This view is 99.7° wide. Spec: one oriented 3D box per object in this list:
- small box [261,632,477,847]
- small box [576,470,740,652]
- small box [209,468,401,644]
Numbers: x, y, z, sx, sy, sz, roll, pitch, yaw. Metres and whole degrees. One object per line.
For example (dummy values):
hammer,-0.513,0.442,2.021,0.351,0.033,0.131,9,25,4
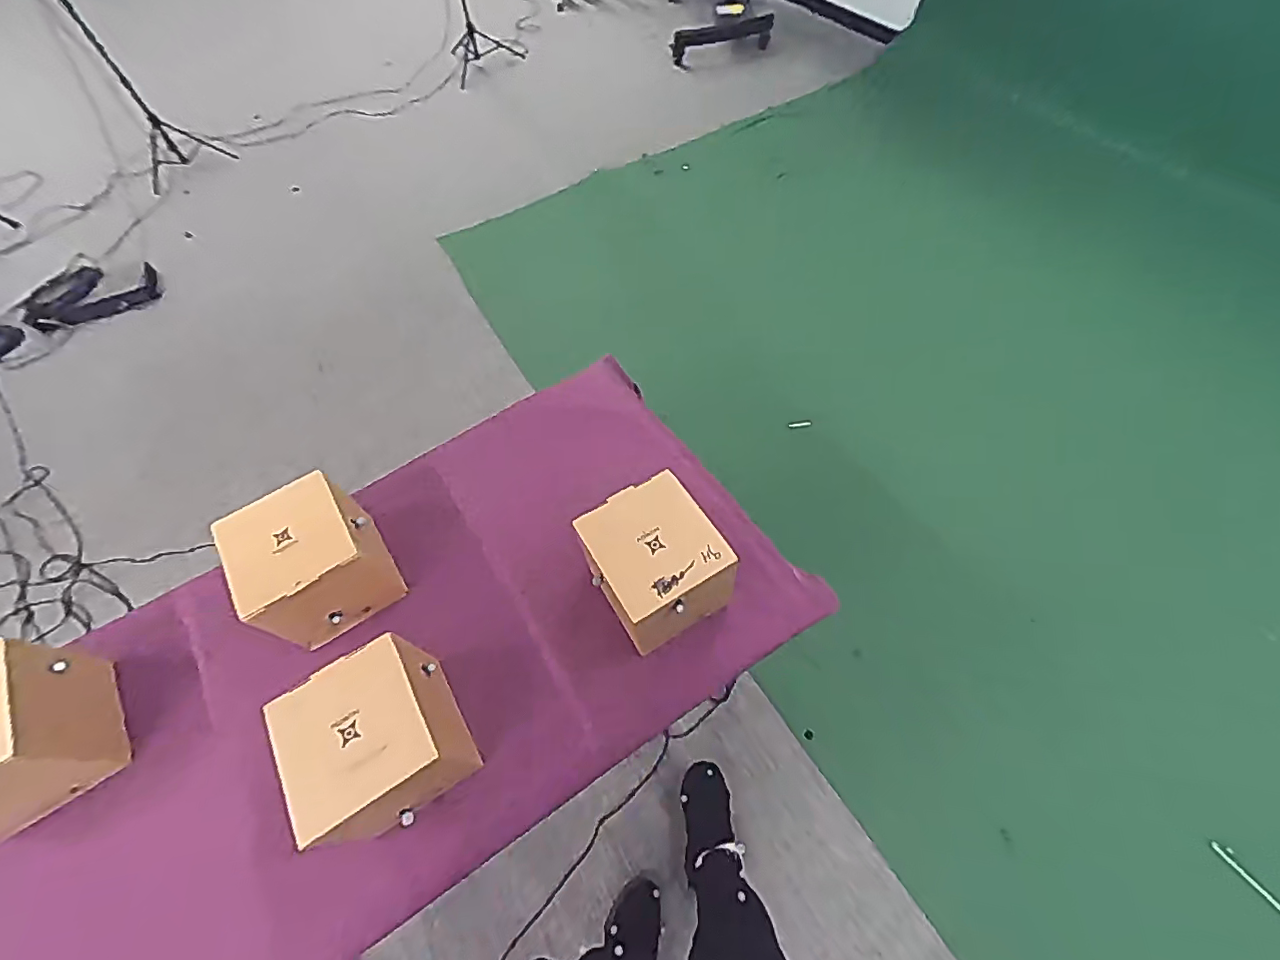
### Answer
small box,-0.336,0.331,0.693,0.168,0.176,0.179,-30,62,-14
small box,0.025,0.124,0.799,0.168,0.176,0.179,-29,60,-12
small box,-0.499,0.121,0.825,0.168,0.176,0.179,-32,64,-16
